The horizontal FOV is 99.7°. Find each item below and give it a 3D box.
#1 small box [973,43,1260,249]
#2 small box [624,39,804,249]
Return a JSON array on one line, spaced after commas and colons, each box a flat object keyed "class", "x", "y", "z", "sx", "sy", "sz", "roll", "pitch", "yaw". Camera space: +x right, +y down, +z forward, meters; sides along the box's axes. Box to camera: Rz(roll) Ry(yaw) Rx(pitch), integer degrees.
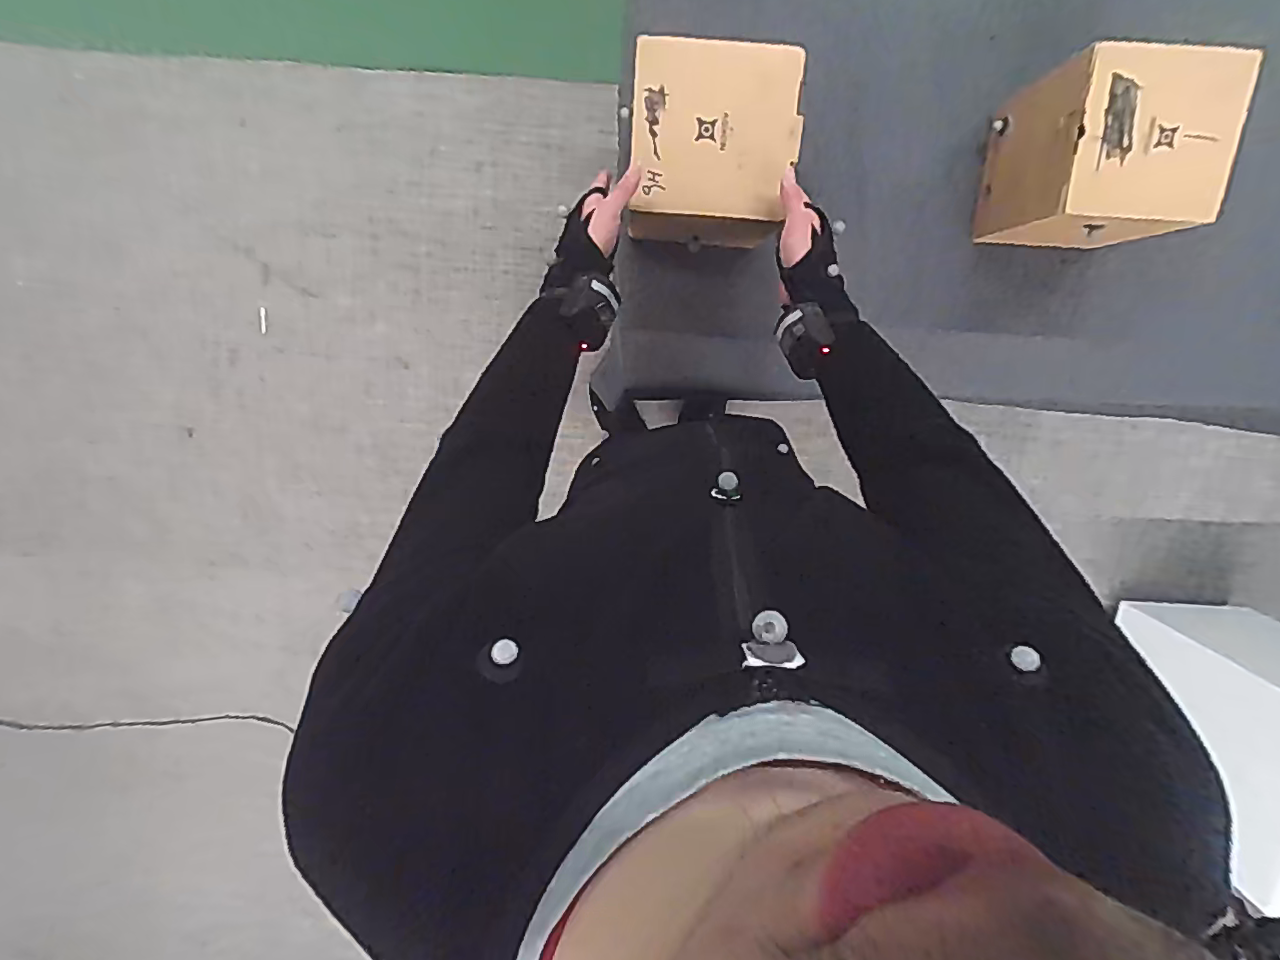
[{"class": "small box", "x": 0.541, "y": -0.379, "z": 0.645, "sx": 0.179, "sy": 0.176, "sz": 0.168, "roll": 3, "pitch": 105, "yaw": -2}, {"class": "small box", "x": 0.073, "y": -0.379, "z": 0.643, "sx": 0.179, "sy": 0.176, "sz": 0.168, "roll": 4, "pitch": 104, "yaw": -2}]
